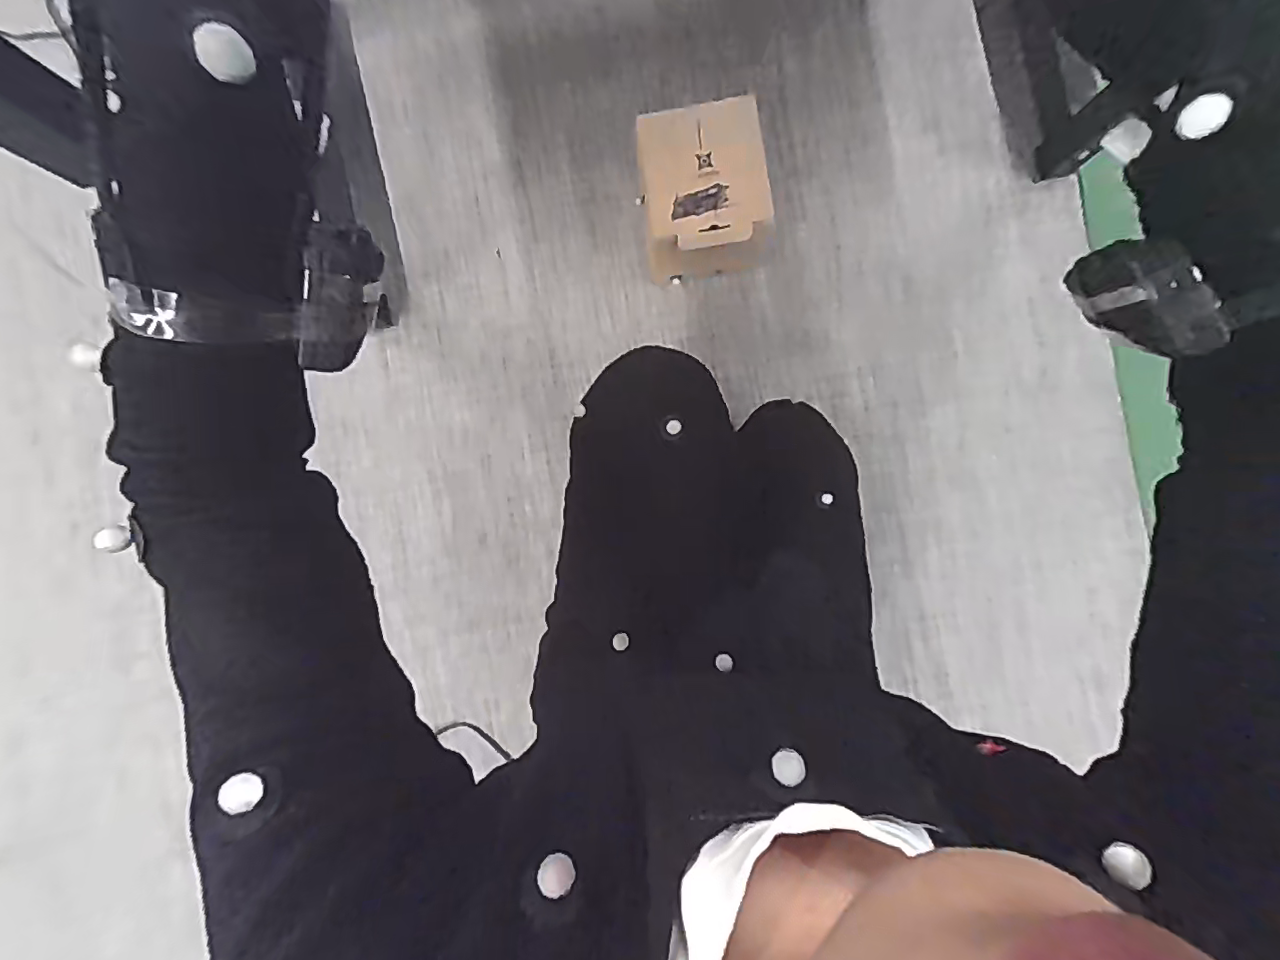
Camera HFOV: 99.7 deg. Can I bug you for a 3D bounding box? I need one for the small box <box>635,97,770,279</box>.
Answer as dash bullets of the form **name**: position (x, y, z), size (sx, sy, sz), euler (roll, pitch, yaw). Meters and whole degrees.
- **small box**: position (0.089, -0.419, 0.809), size (0.168, 0.176, 0.179), euler (-8, 88, 3)
